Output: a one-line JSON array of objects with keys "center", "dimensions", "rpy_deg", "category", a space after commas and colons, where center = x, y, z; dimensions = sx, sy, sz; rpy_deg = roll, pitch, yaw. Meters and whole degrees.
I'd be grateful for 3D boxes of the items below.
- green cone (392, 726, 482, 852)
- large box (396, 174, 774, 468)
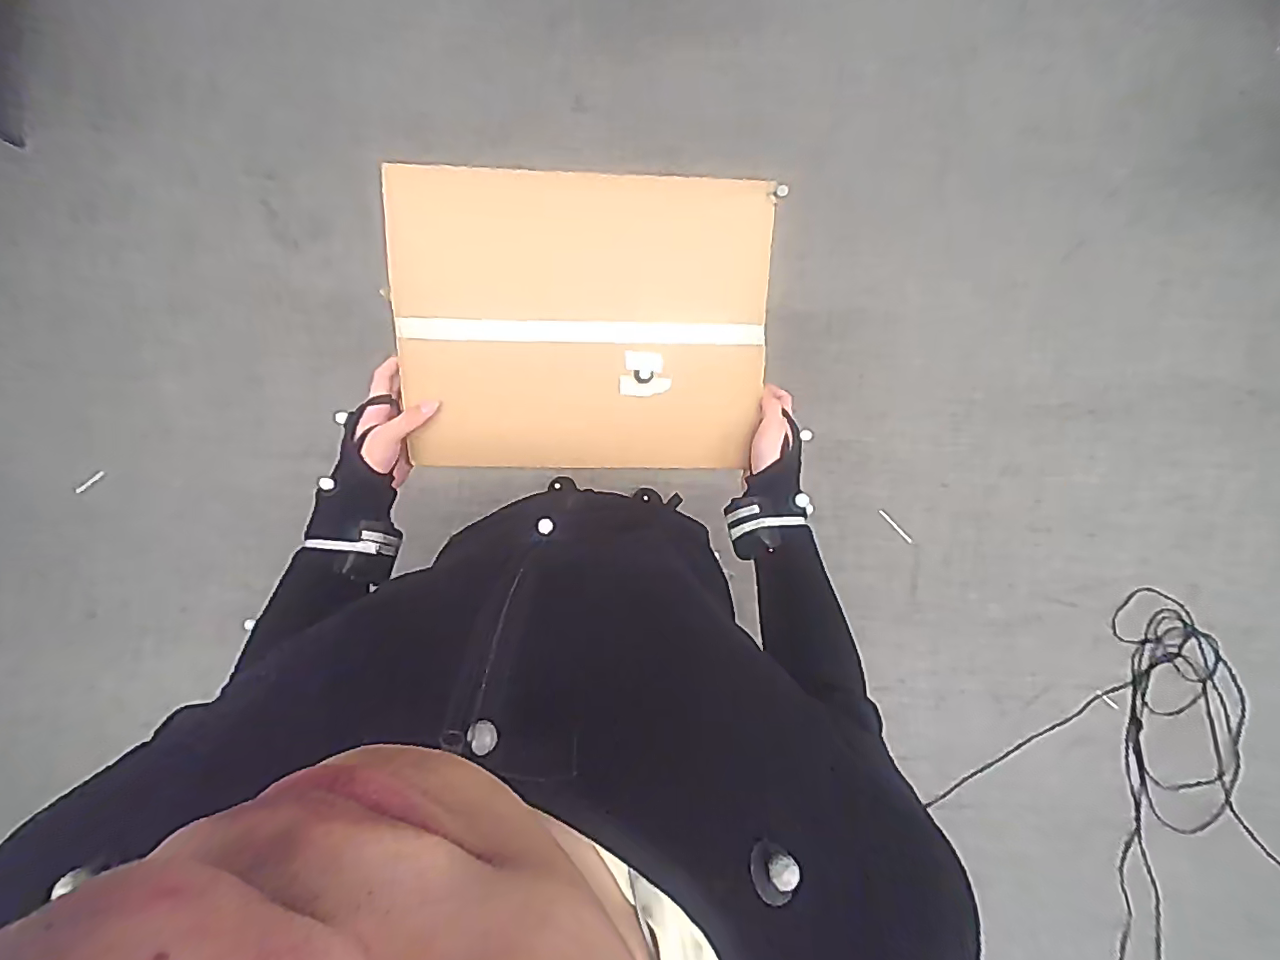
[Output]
[{"center": [-0.576, 0.847, 1.451], "dimensions": [0.200, 0.368, 0.202], "rpy_deg": [7, 91, -2], "category": "green cone"}, {"center": [-0.066, -0.205, 0.748], "dimensions": [0.408, 0.320, 0.320], "rpy_deg": [-1, 106, -5], "category": "large box"}]
